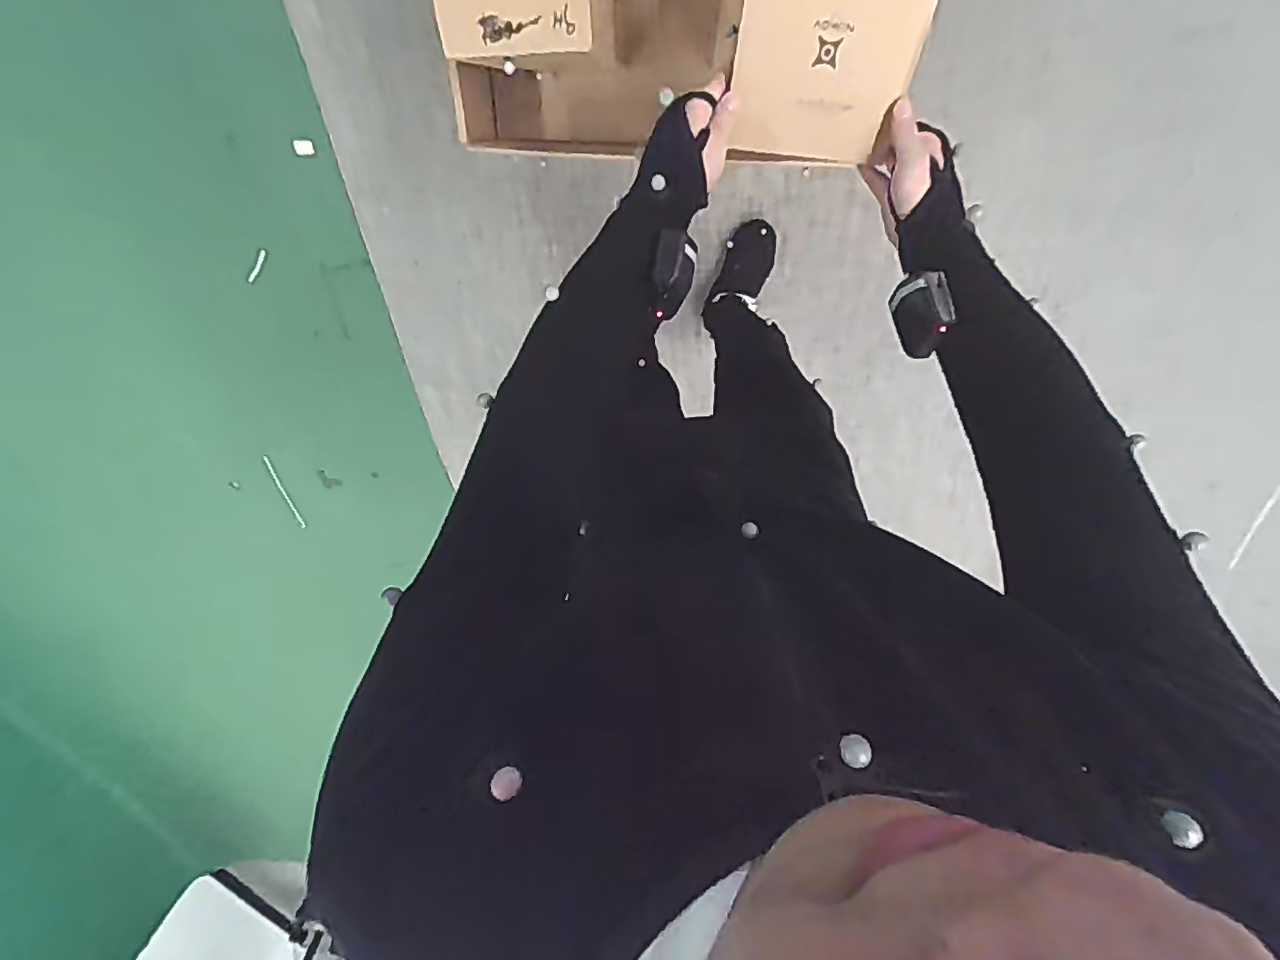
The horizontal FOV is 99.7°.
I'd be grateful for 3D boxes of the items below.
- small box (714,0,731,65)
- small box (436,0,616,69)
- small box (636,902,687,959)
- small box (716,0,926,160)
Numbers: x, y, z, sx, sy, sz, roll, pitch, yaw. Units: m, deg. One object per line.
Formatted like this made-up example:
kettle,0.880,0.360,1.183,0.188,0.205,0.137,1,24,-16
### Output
small box,0.192,-0.641,0.708,0.168,0.176,0.179,9,126,4
small box,-0.124,-0.577,0.603,0.168,0.176,0.179,3,125,8
small box,0.083,1.681,1.971,0.168,0.176,0.179,0,123,9
small box,0.172,-0.450,0.551,0.168,0.176,0.179,8,132,2
